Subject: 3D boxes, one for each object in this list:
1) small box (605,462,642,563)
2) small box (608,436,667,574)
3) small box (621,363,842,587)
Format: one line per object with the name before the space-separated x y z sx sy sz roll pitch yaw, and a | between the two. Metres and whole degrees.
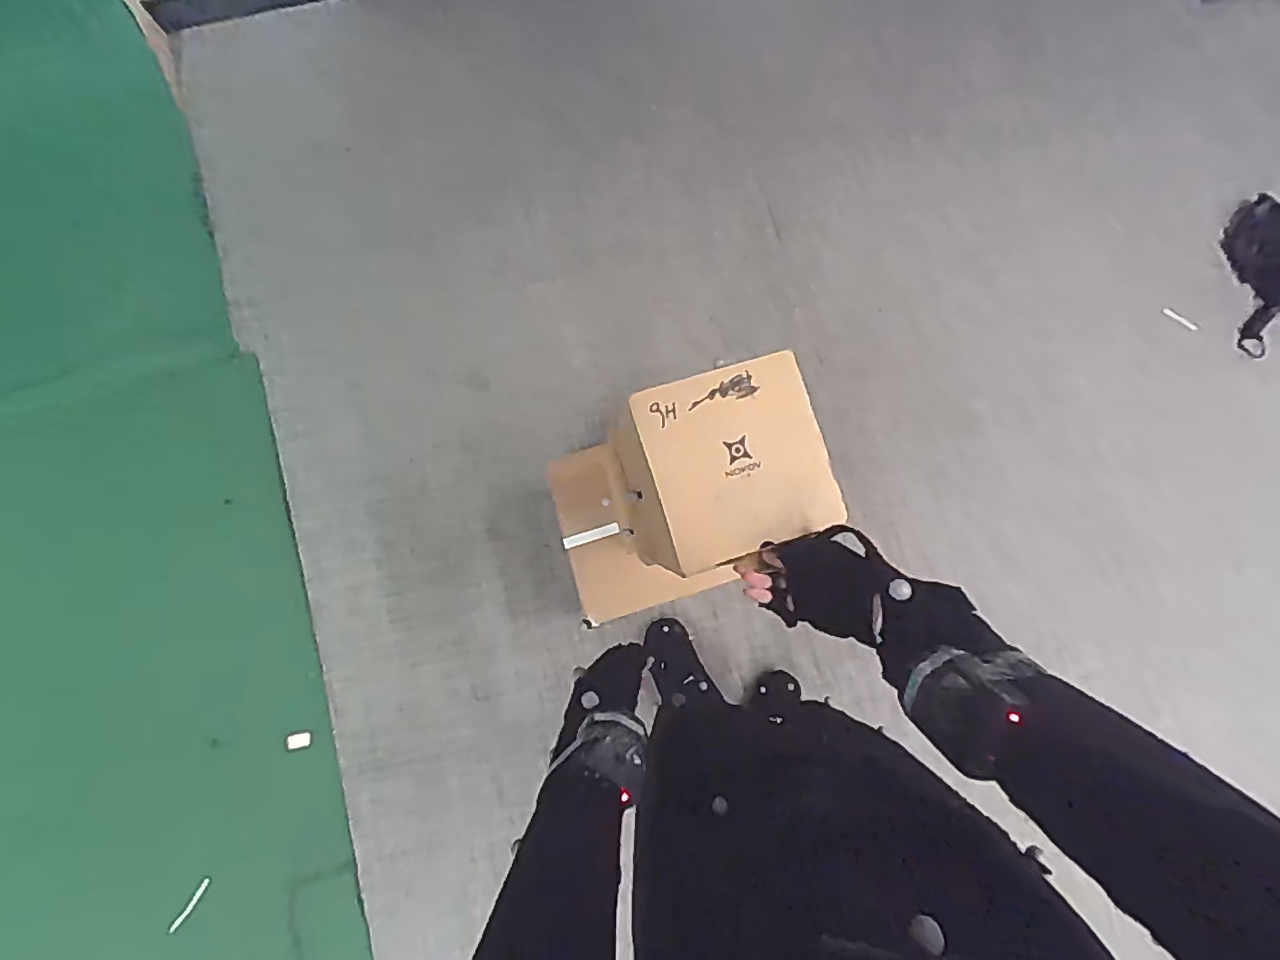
small box | 0.046 0.028 0.908 0.179 0.176 0.168 -18 88 -5
small box | 0.058 0.015 0.747 0.168 0.176 0.179 -17 86 -6
small box | 0.083 -0.002 0.583 0.168 0.176 0.179 -18 88 -7
